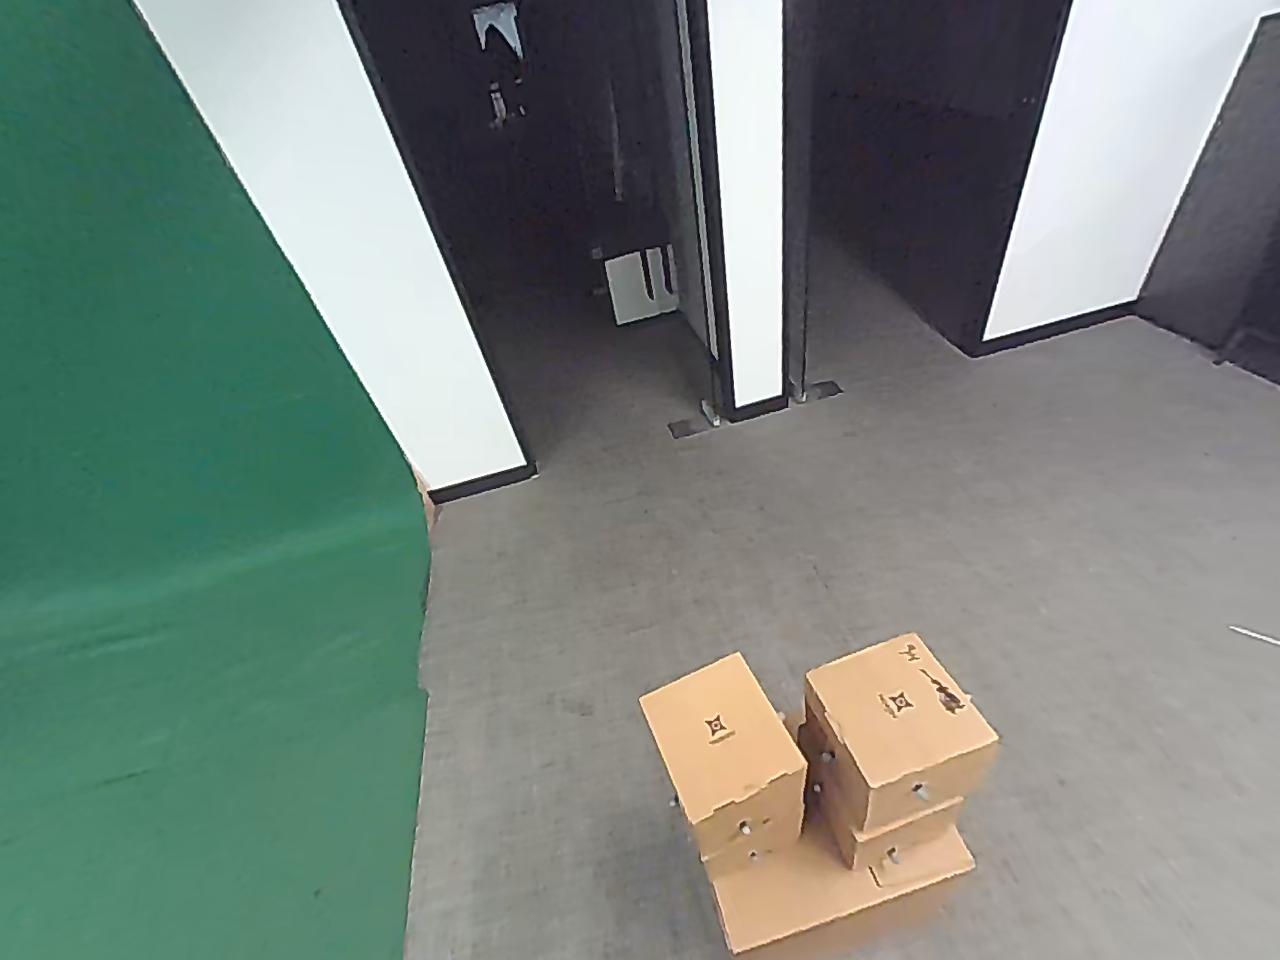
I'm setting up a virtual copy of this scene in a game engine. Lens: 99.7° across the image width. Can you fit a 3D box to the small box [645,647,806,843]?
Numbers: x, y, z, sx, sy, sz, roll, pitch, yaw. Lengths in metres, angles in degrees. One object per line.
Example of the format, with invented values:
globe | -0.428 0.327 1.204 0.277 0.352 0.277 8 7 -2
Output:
small box | 0.120 0.386 0.790 0.168 0.176 0.179 -21 44 -10
